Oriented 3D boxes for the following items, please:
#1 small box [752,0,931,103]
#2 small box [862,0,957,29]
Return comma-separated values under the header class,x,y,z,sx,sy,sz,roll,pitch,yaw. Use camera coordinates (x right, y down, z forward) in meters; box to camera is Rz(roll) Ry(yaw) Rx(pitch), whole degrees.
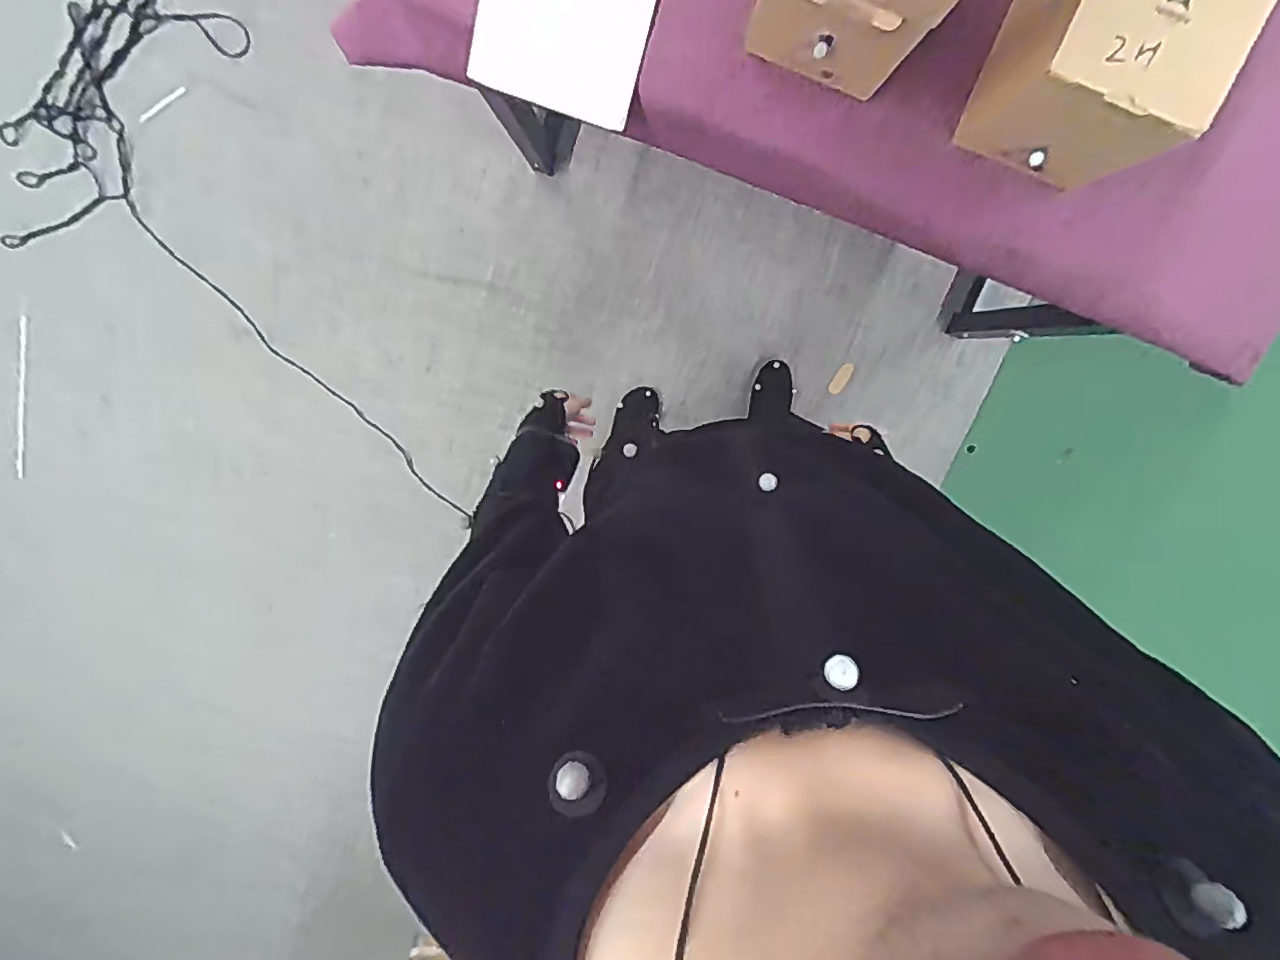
class,x,y,z,sx,sy,sz,roll,pitch,yaw
small box,0.228,-0.540,0.562,0.168,0.176,0.179,20,103,-3
small box,0.222,-0.498,0.402,0.168,0.176,0.179,20,102,-3
